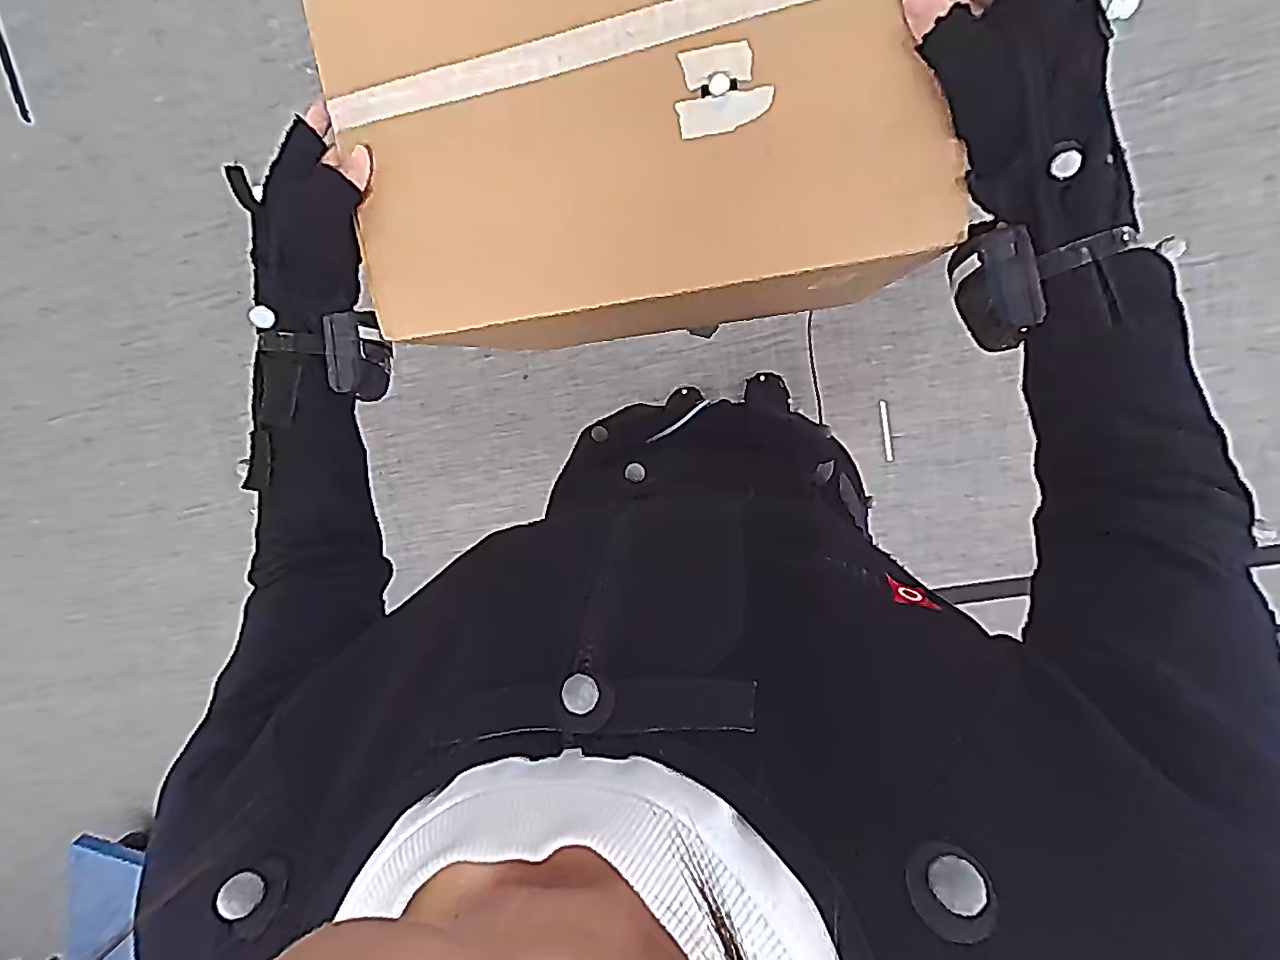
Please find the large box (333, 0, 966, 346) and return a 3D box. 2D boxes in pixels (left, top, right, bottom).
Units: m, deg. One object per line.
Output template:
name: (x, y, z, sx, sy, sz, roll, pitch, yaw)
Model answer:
large box: (0.013, -0.315, 0.495, 0.408, 0.320, 0.320, -6, 101, 11)
